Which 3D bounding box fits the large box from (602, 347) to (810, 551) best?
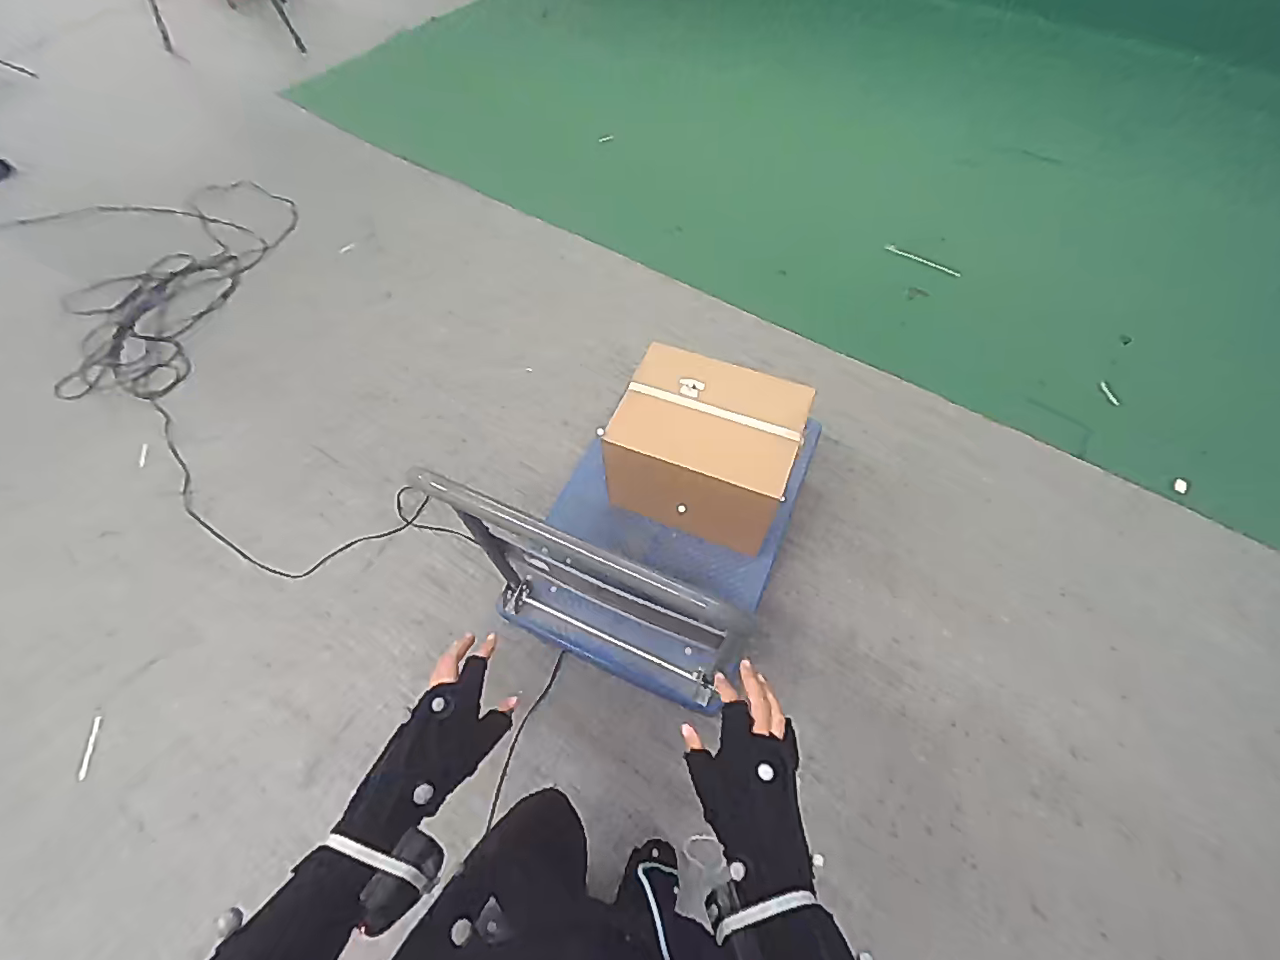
[{"bbox_3d":[0.159,-0.070,1.338,0.408,0.320,0.320,19,61,12],"label":"large box"}]
